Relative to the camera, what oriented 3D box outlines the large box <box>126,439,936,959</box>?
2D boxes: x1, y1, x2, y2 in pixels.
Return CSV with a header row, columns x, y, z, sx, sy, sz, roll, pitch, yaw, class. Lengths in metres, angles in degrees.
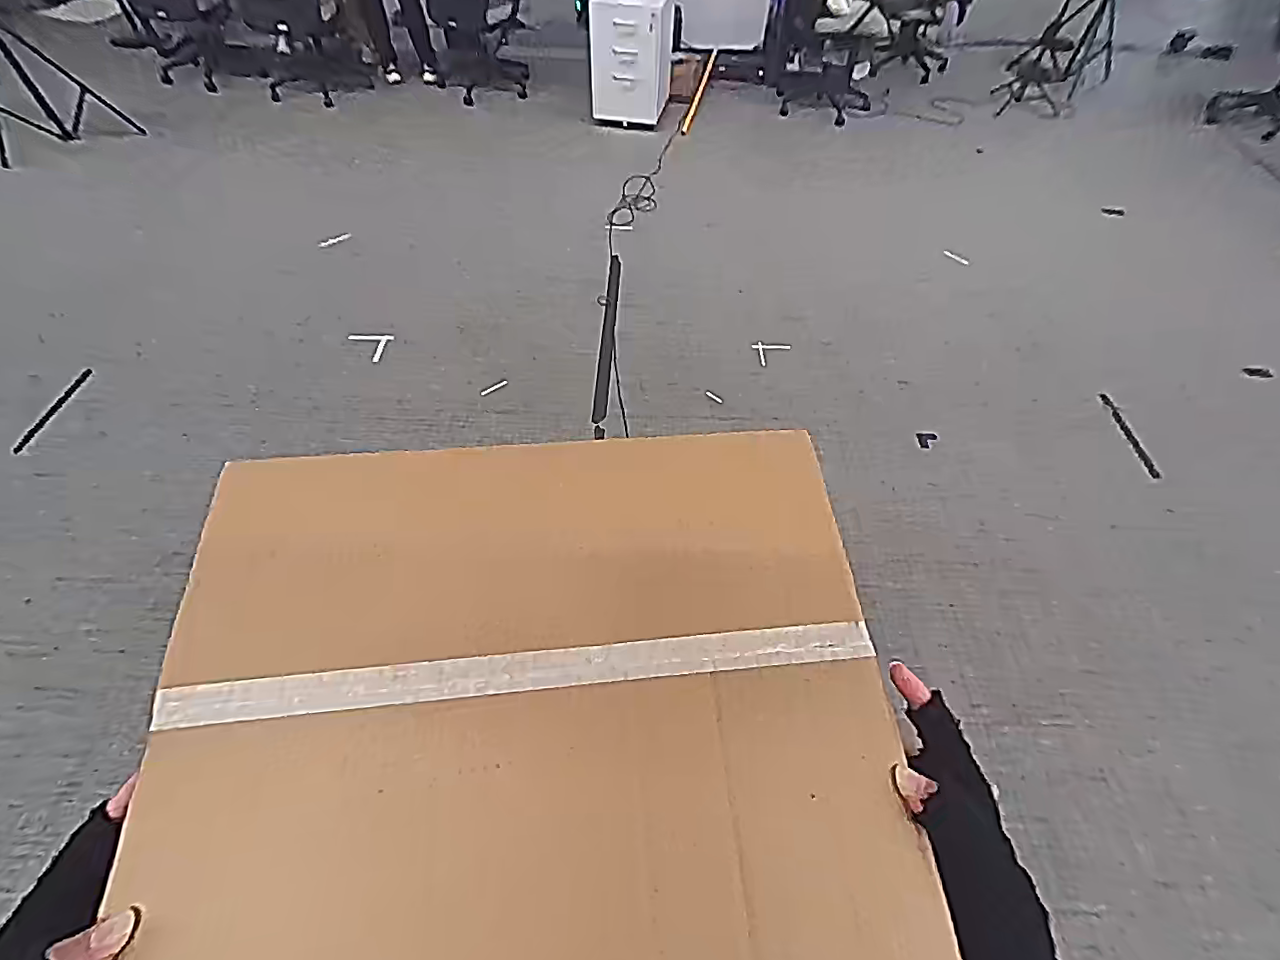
x,y,z,sx,sy,sz,roll,pitch,yaw,class
-0.067,0.187,0.457,0.408,0.320,0.320,-4,63,-5,large box
